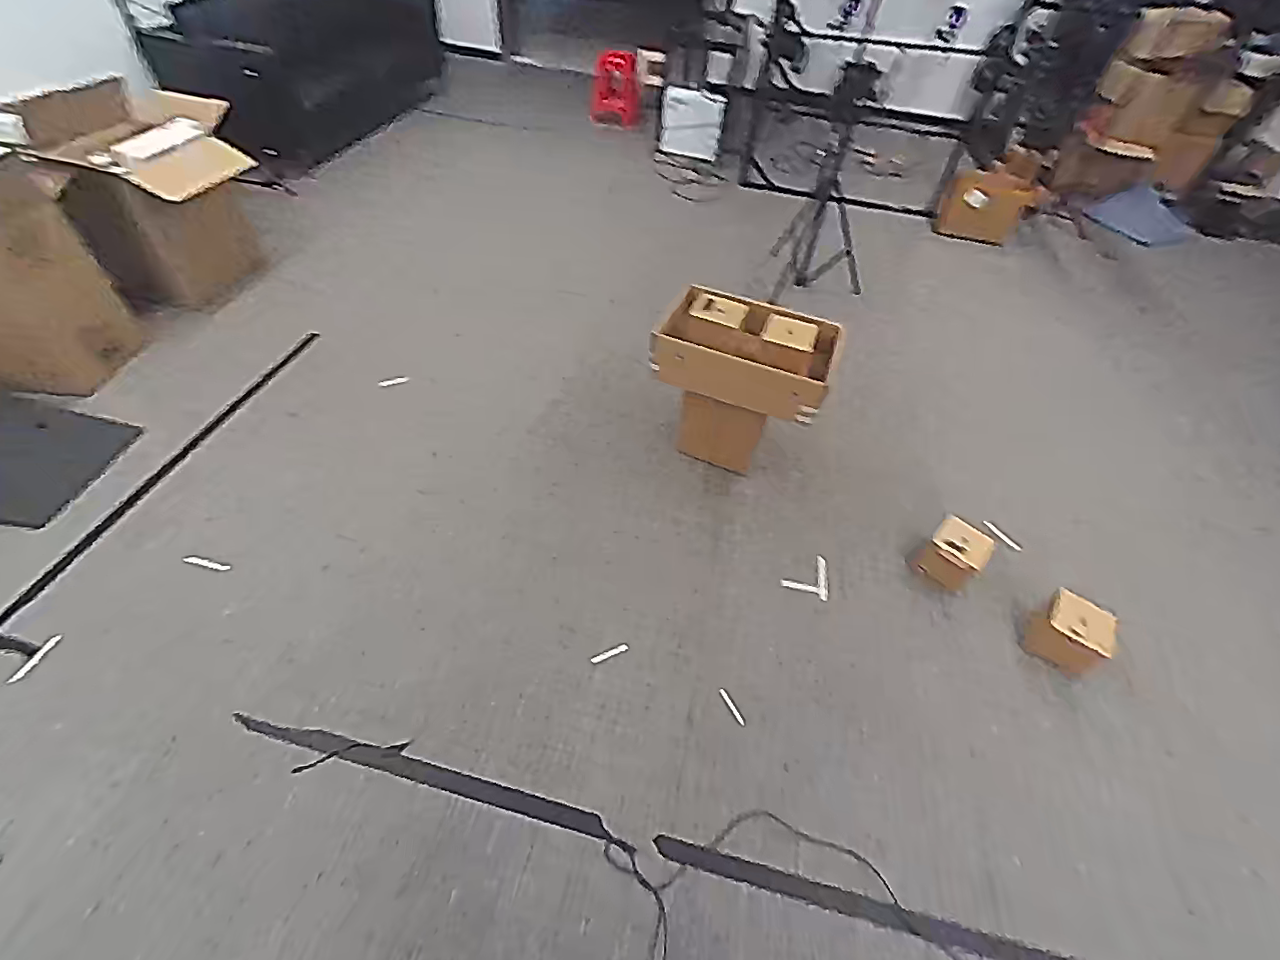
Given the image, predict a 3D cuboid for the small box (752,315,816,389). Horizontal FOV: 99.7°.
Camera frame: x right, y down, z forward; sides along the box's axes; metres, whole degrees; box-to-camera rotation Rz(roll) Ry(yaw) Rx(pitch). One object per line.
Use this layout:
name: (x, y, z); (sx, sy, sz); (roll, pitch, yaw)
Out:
small box: (0.510, -0.456, 1.929); (0.168, 0.176, 0.179); (18, 48, 12)

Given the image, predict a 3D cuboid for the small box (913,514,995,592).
small box: (1.102, 0.262, 1.913); (0.168, 0.176, 0.179); (38, 56, 25)

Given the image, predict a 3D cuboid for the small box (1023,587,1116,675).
small box: (1.377, 0.488, 1.741); (0.168, 0.176, 0.179); (32, 53, 21)
